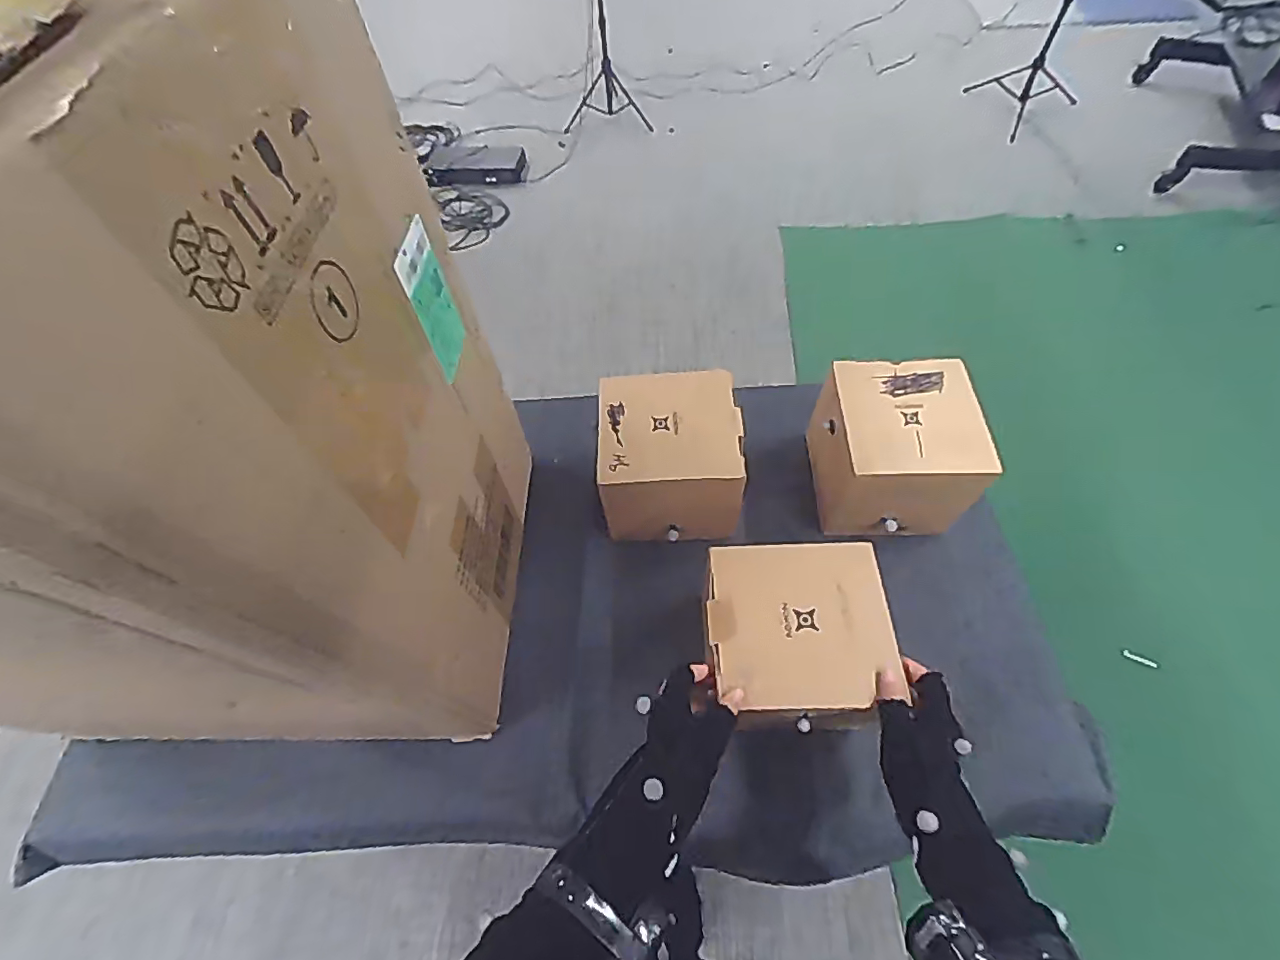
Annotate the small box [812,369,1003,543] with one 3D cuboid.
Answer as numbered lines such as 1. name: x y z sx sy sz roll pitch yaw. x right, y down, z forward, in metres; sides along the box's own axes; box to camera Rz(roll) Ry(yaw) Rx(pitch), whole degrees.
1. small box: 0.341 -0.029 0.733 0.168 0.176 0.179 -1 59 4
